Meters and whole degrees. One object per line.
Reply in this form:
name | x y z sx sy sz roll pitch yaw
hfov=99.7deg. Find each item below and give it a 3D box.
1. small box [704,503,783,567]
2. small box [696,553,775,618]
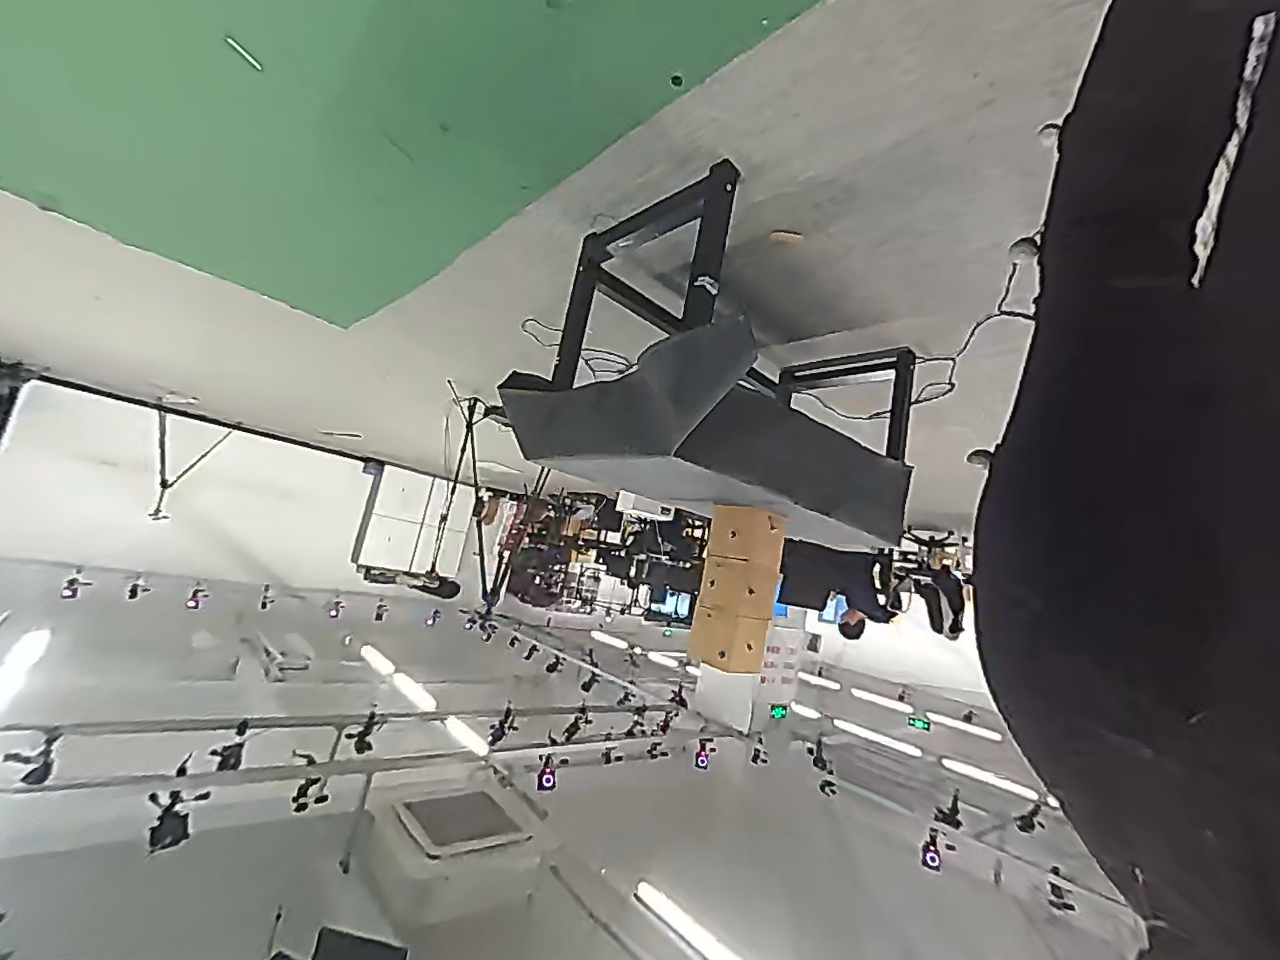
small box | 0.335 0.171 1.728 0.168 0.176 0.179 19 168 -42
small box | 0.304 0.330 1.708 0.179 0.176 0.168 18 170 -39
